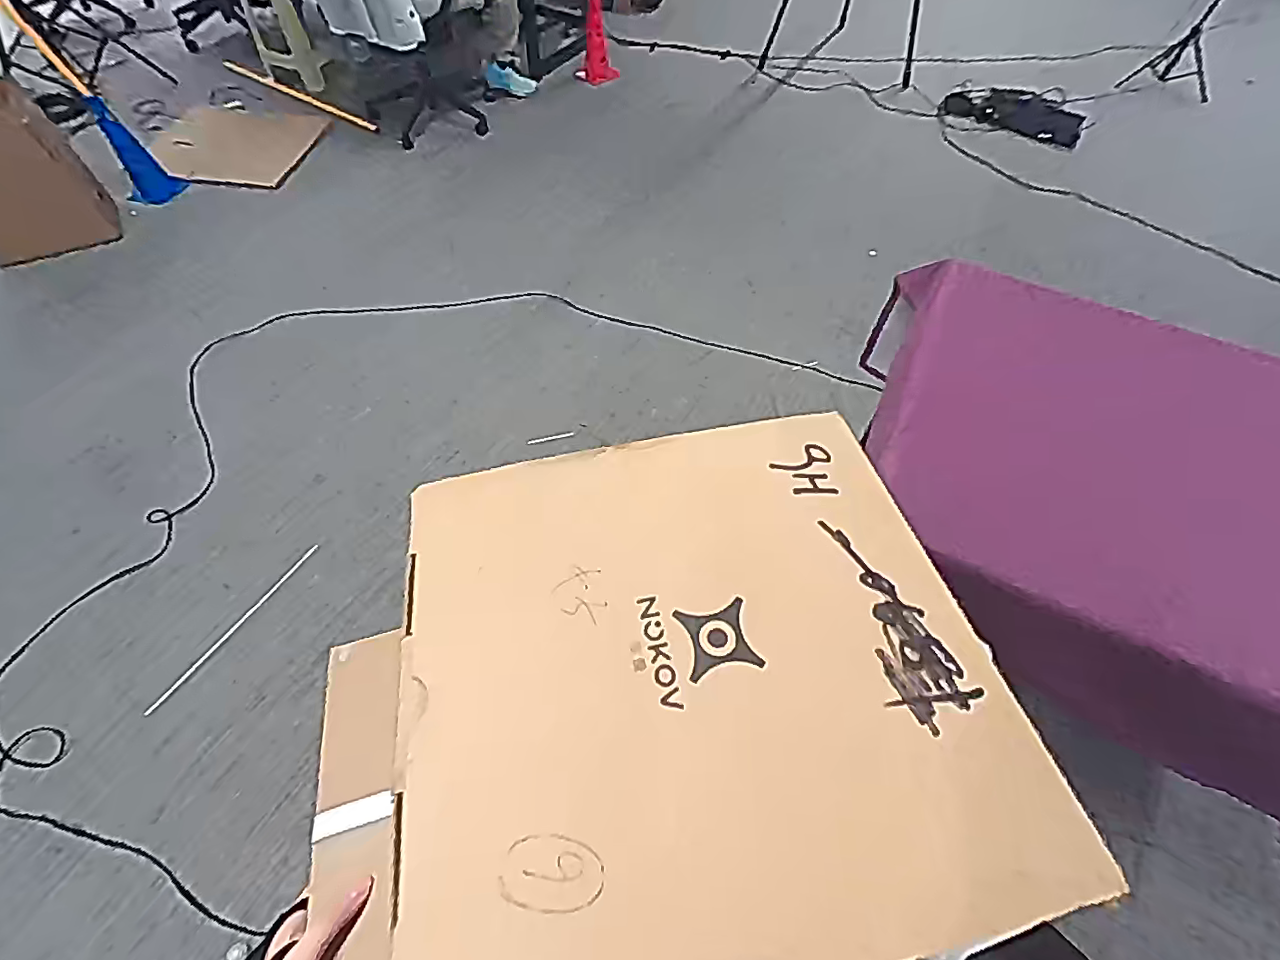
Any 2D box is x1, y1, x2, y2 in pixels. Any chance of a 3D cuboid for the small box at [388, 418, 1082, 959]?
[{"bbox_3d":[0.015,0.101,0.237,0.179,0.176,0.168,-11,54,-6],"label":"small box"}]
